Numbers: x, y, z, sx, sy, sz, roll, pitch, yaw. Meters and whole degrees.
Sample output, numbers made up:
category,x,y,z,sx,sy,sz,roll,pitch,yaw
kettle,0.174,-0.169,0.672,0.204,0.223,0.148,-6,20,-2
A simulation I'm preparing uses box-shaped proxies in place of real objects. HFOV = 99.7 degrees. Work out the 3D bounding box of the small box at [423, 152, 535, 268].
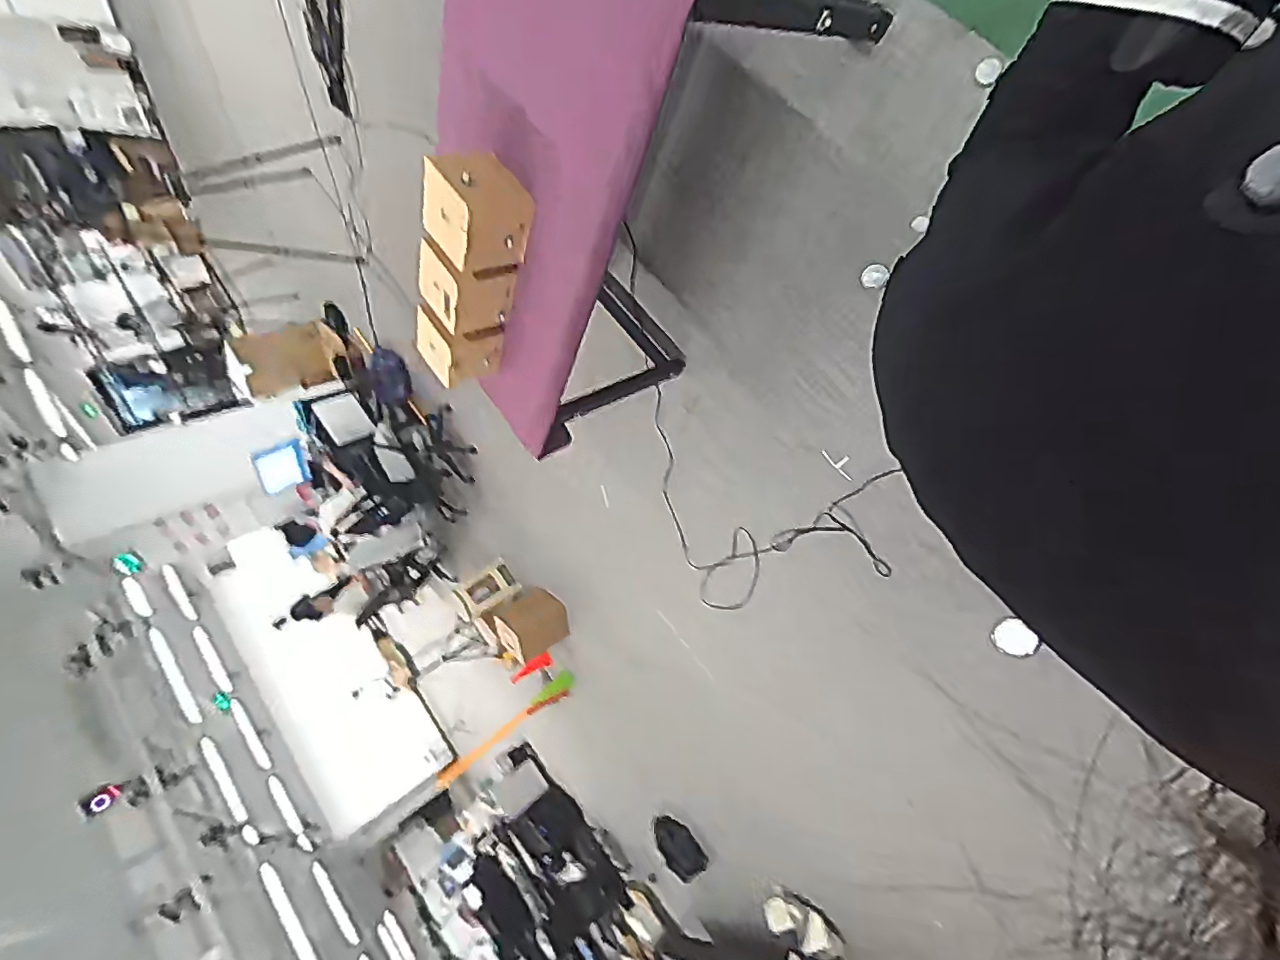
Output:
category,x,y,z,sx,sy,sz,roll,pitch,yaw
small box,-0.368,-0.617,1.233,0.179,0.176,0.168,51,143,13

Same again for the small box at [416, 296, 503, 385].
category,x,y,z,sx,sy,sz,roll,pitch,yaw
small box,-0.522,-0.408,1.557,0.179,0.176,0.168,52,144,13
